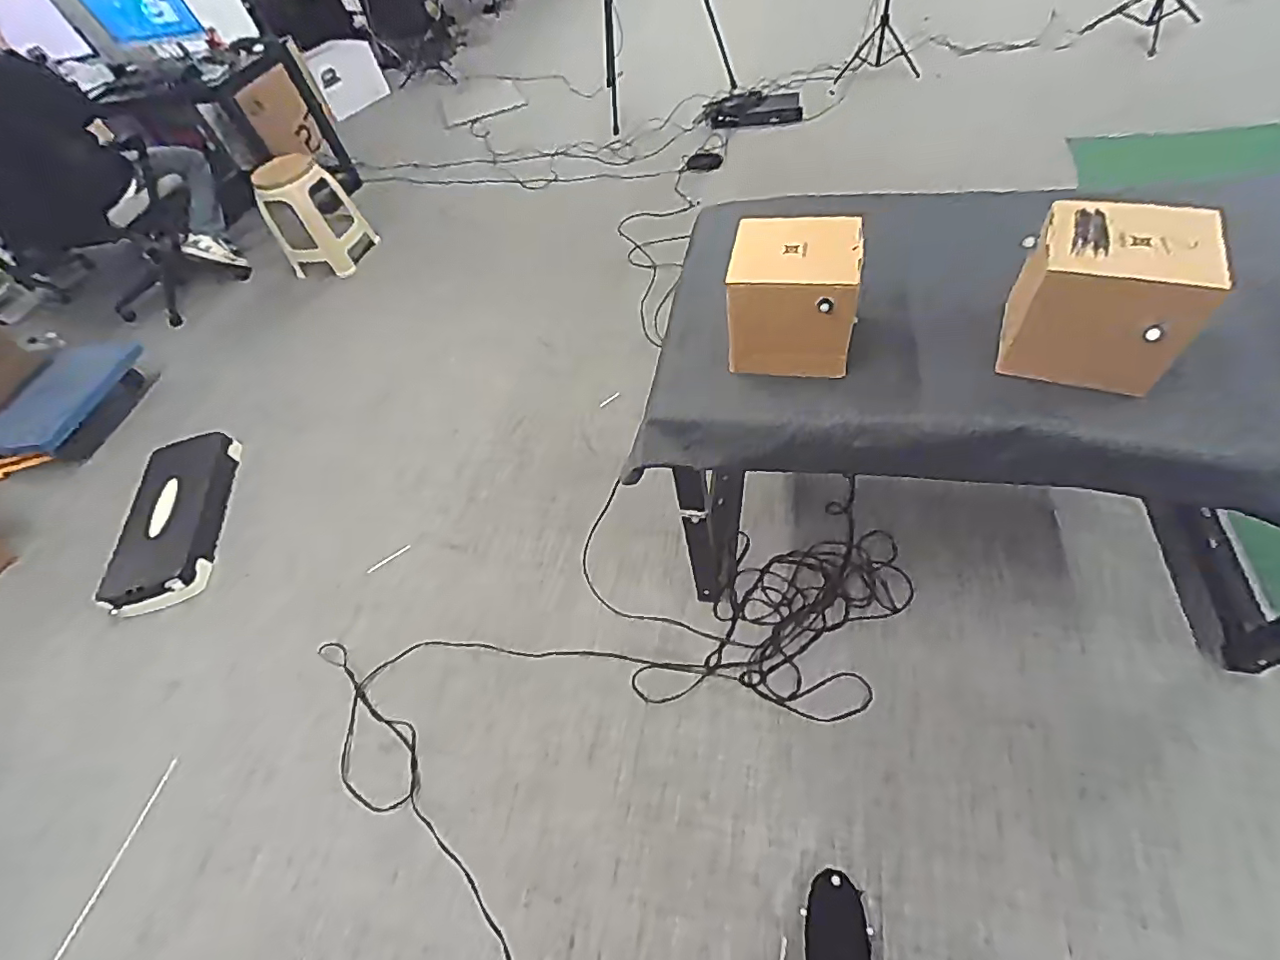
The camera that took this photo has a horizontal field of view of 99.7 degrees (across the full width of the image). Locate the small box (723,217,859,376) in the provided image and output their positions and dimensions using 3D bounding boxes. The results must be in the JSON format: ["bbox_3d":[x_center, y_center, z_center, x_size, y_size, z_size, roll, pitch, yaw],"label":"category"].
[{"bbox_3d":[0.228,-0.275,0.824,0.179,0.176,0.168,6,55,15],"label":"small box"}]
